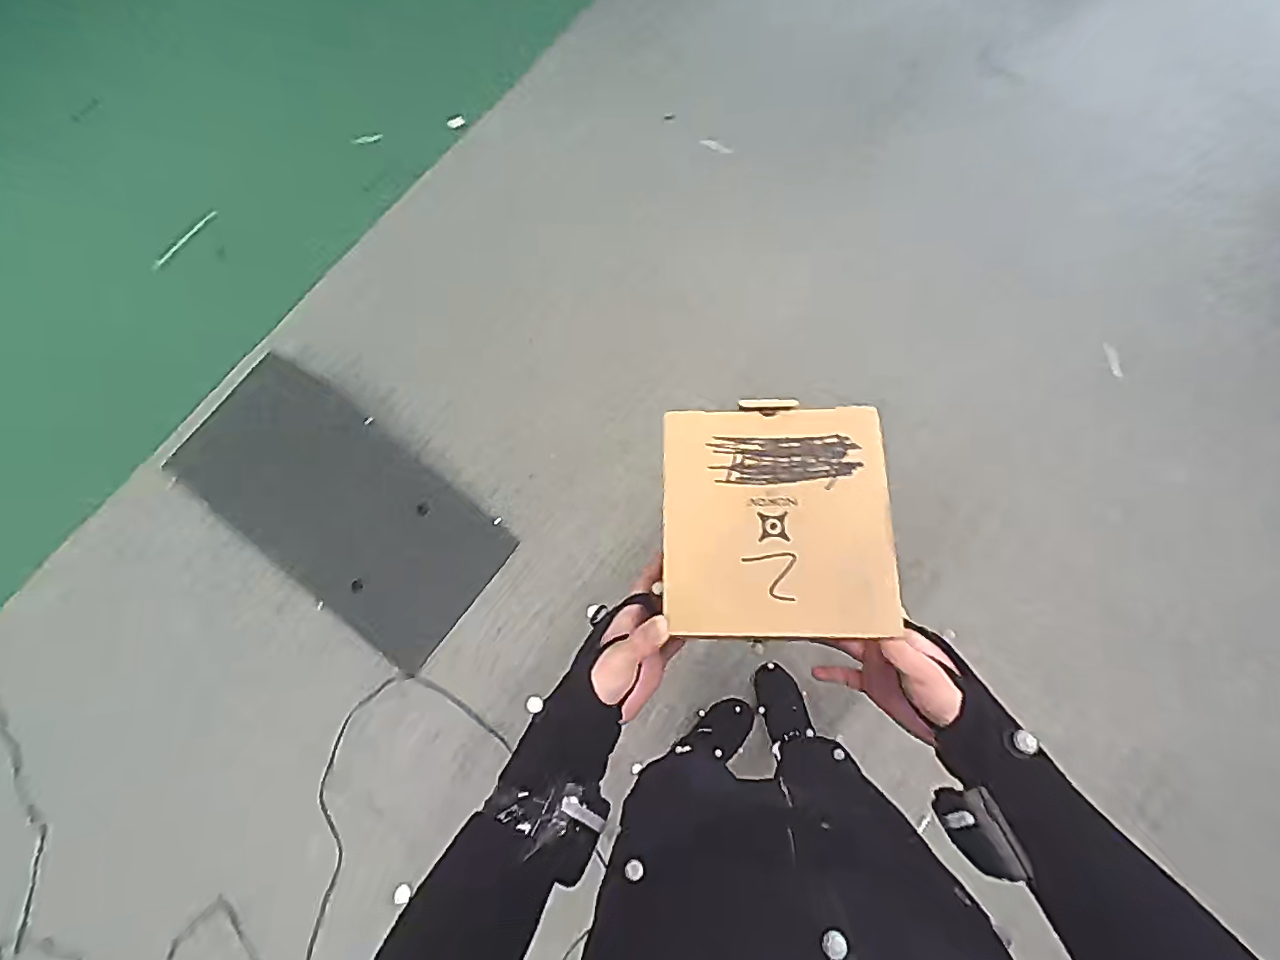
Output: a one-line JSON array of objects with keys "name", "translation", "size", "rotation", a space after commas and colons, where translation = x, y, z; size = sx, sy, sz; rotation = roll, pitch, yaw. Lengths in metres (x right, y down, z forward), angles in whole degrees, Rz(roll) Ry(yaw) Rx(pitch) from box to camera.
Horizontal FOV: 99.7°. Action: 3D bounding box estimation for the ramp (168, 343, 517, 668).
[{"name": "ramp", "translation": [-0.894, 0.053, 1.626], "size": [0.991, 0.206, 0.509], "rotation": [35, 80, 16]}]
